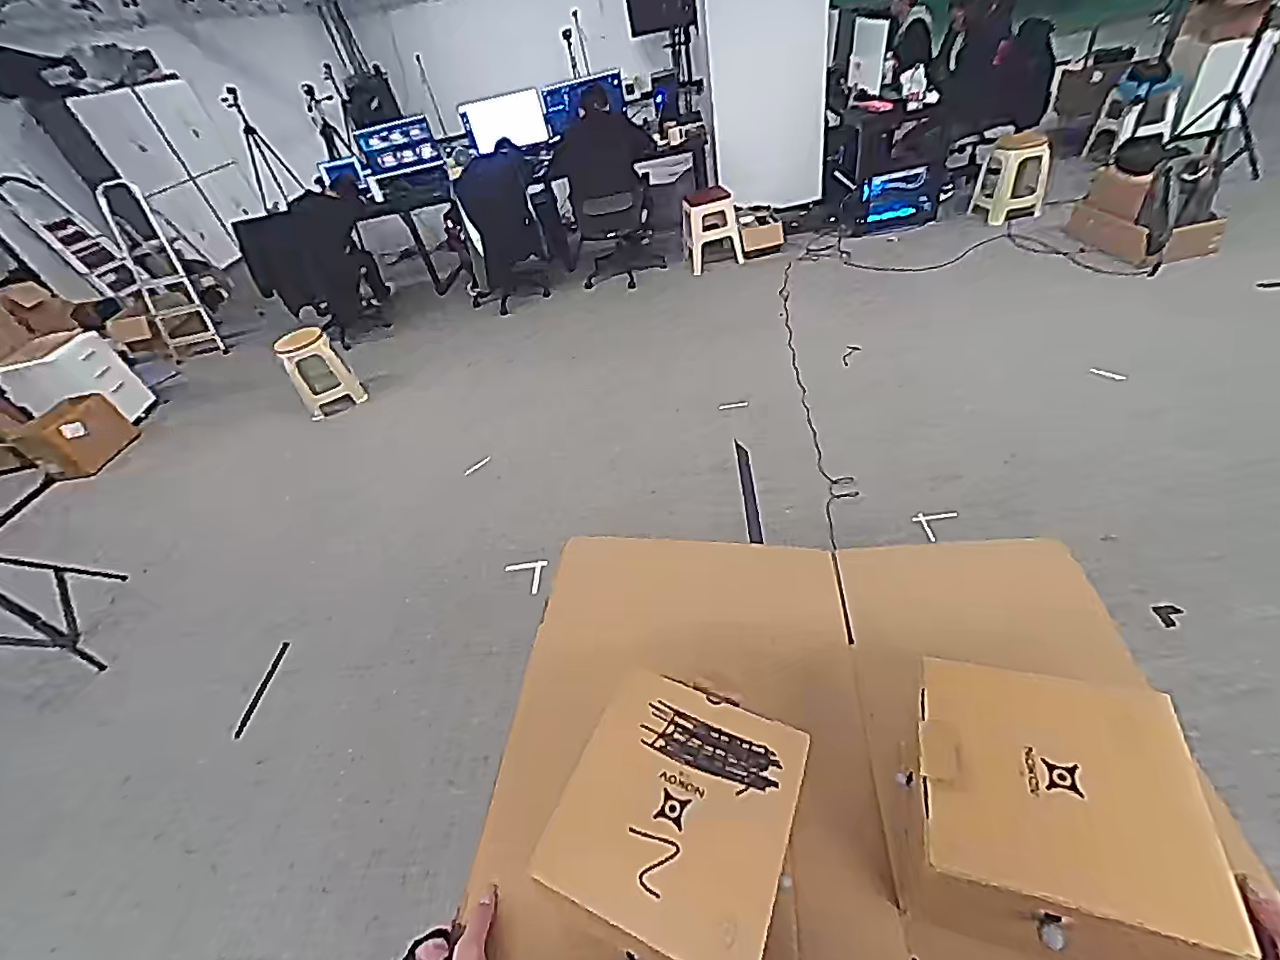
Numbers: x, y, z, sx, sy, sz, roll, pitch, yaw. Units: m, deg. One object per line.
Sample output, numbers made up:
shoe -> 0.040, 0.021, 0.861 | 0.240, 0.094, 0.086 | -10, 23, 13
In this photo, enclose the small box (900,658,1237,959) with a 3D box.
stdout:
small box -> 0.326, 0.282, 0.463 | 0.179, 0.176, 0.168 | 3, 45, 23
